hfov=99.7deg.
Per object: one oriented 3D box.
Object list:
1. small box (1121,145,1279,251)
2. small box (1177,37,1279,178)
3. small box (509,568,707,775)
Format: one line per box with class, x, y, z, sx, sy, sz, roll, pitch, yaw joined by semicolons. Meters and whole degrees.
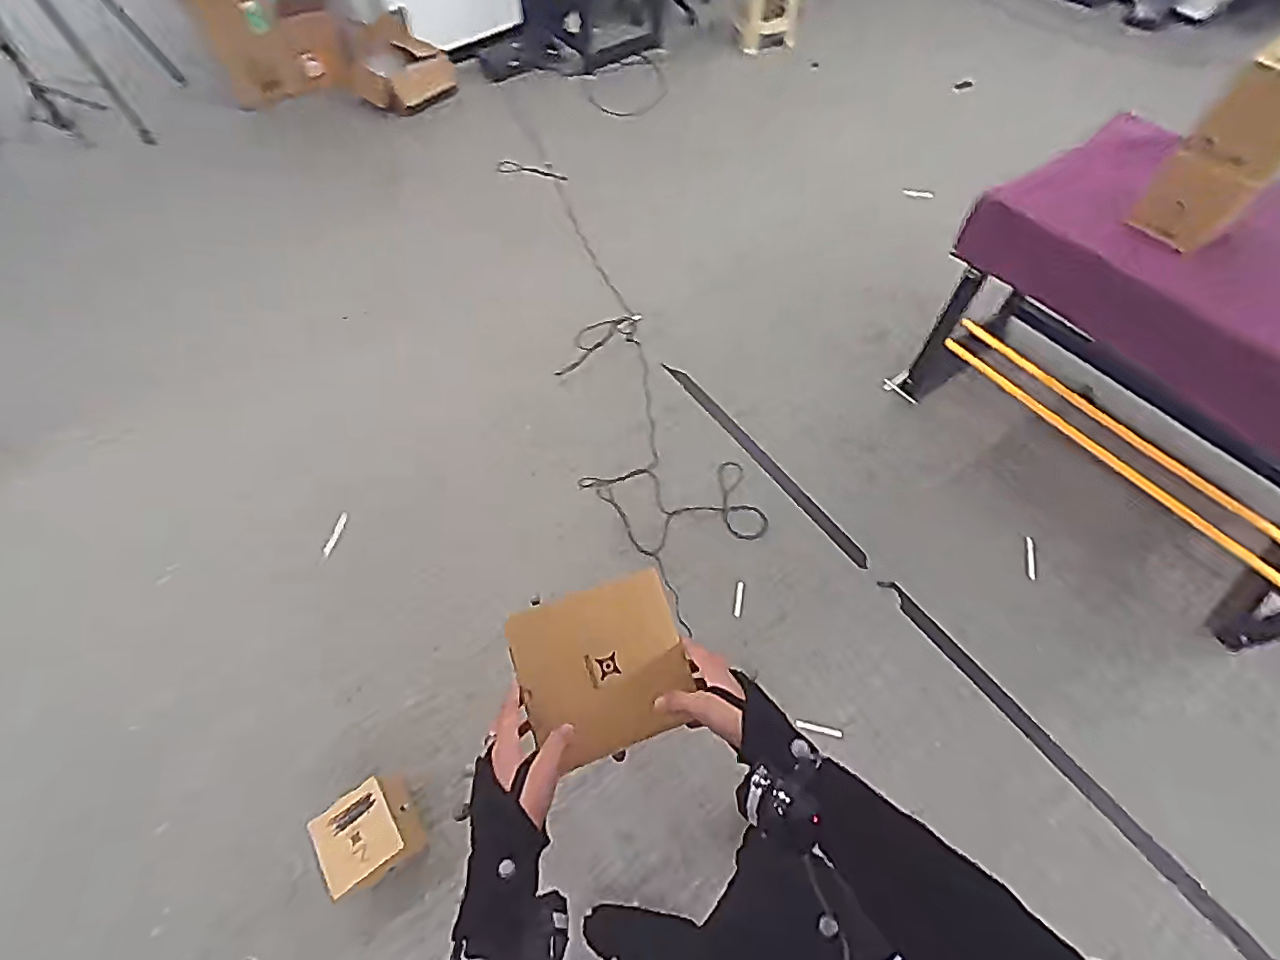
small box;1.266;-0.660;1.235;0.179;0.176;0.168;-30;64;-15
small box;1.268;-0.751;1.098;0.179;0.176;0.168;-34;64;-17
small box;-0.047;0.212;0.638;0.179;0.176;0.168;-16;78;-14
